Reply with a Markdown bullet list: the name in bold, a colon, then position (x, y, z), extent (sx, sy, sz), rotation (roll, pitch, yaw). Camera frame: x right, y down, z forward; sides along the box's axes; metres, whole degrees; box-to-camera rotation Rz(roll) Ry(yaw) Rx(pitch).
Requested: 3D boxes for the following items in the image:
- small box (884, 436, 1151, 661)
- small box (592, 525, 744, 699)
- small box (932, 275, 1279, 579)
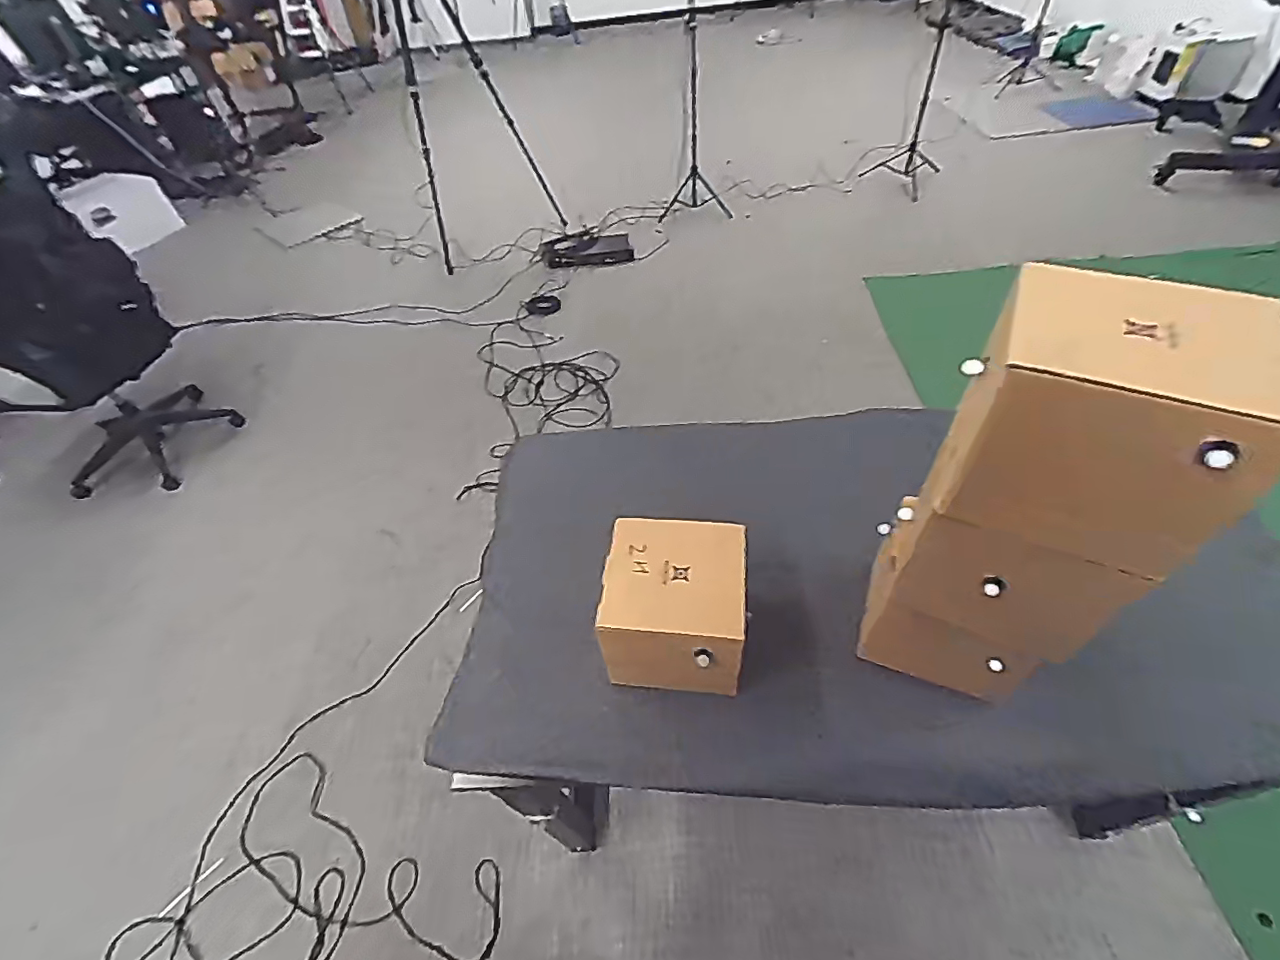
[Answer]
- **small box**: position (0.386, 0.065, 0.572), extent (0.179, 0.176, 0.168), rotation (21, 53, 24)
- **small box**: position (0.046, 0.180, 0.729), extent (0.179, 0.176, 0.168), rotation (2, 47, 9)
- **small box**: position (0.370, -0.045, 0.452), extent (0.179, 0.176, 0.168), rotation (20, 52, 21)
